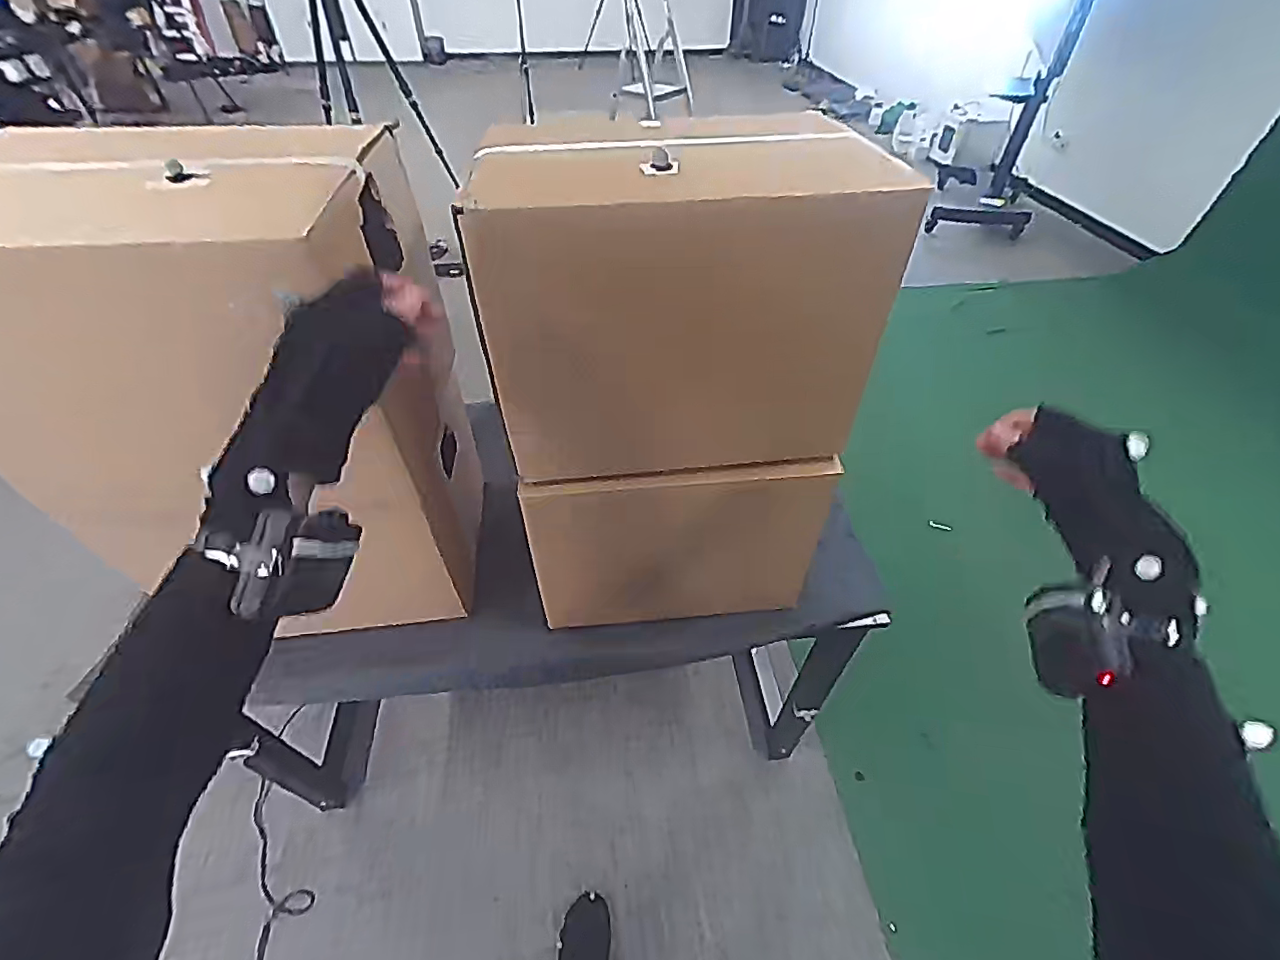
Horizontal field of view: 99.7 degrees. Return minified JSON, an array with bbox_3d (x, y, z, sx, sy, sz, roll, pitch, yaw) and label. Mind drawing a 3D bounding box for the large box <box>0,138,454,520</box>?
[{"bbox_3d":[-0.465,-0.176,0.621,0.408,0.320,0.320,-3,47,-6],"label":"large box"}]
